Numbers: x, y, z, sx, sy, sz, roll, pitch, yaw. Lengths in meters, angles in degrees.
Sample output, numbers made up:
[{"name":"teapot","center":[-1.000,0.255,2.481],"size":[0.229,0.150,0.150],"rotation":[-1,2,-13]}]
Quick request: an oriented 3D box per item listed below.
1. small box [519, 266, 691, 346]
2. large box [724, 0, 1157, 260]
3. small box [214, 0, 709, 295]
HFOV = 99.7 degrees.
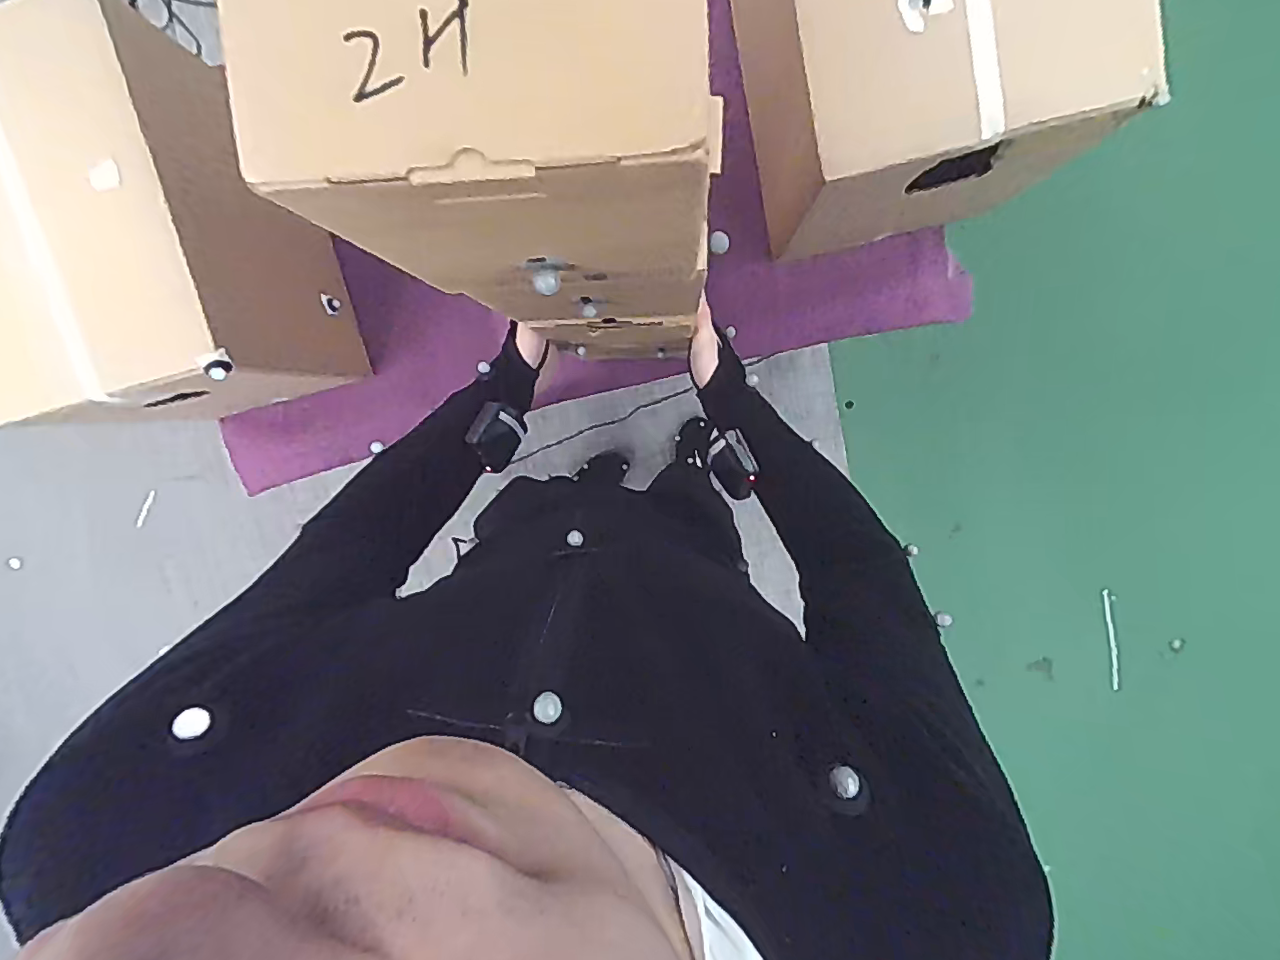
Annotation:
[{"name":"small box","center":[-0.028,-0.238,0.579],"size":[0.168,0.176,0.179],"rotation":[0,97,3]},{"name":"large box","center":[0.297,-0.532,0.638],"size":[0.320,0.320,0.408],"rotation":[-12,98,7]},{"name":"small box","center":[-0.056,-0.197,0.253],"size":[0.168,0.176,0.179],"rotation":[-1,97,4]}]
